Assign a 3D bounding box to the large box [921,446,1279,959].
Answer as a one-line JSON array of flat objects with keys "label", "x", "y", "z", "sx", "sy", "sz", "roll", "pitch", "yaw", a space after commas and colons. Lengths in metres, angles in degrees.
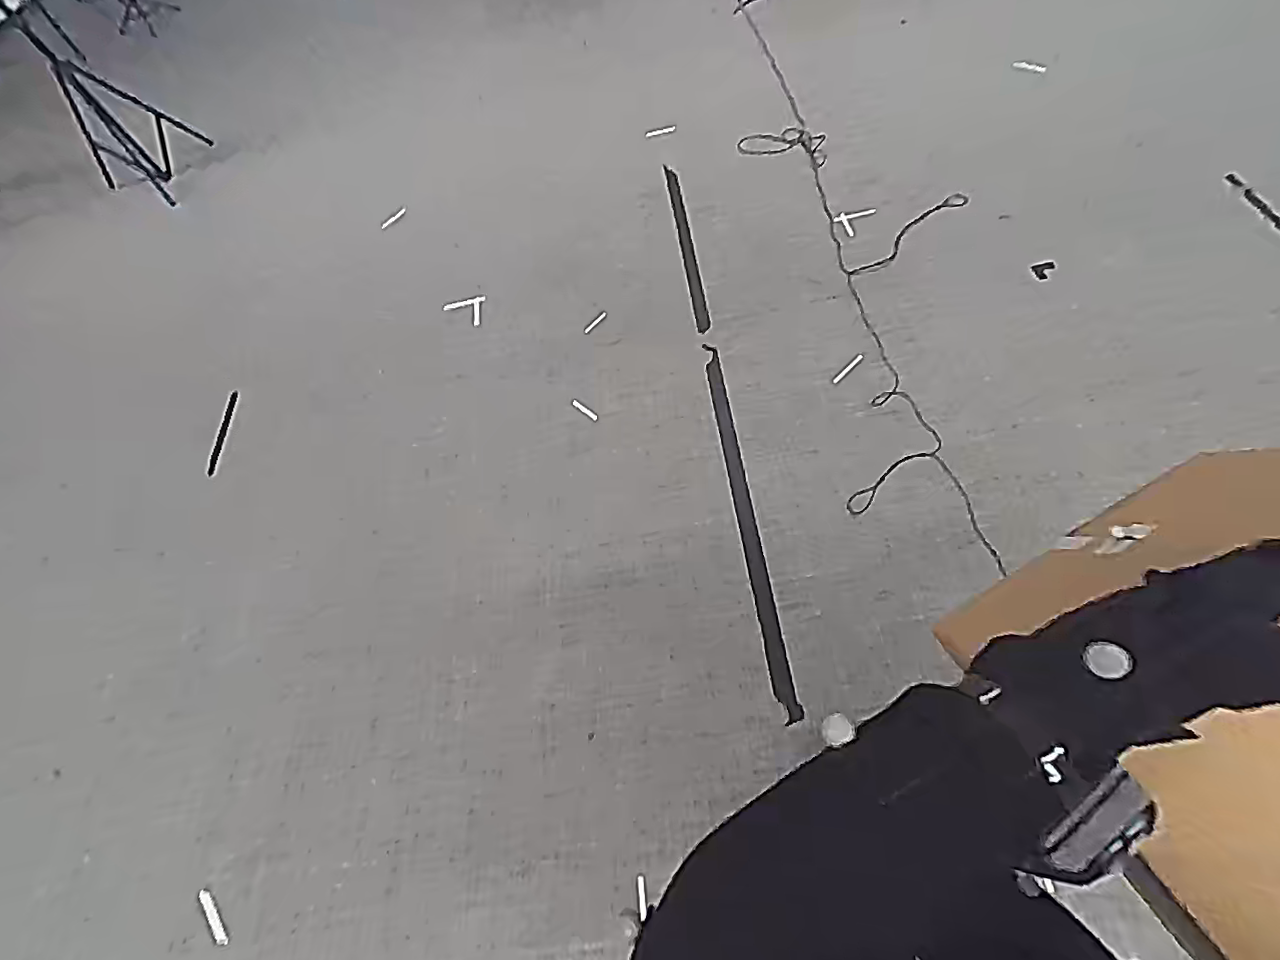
[{"label": "large box", "x": 0.514, "y": 0.219, "z": 0.415, "sx": 0.320, "sy": 0.320, "sz": 0.408, "roll": -40, "pitch": 82, "yaw": 11}]
